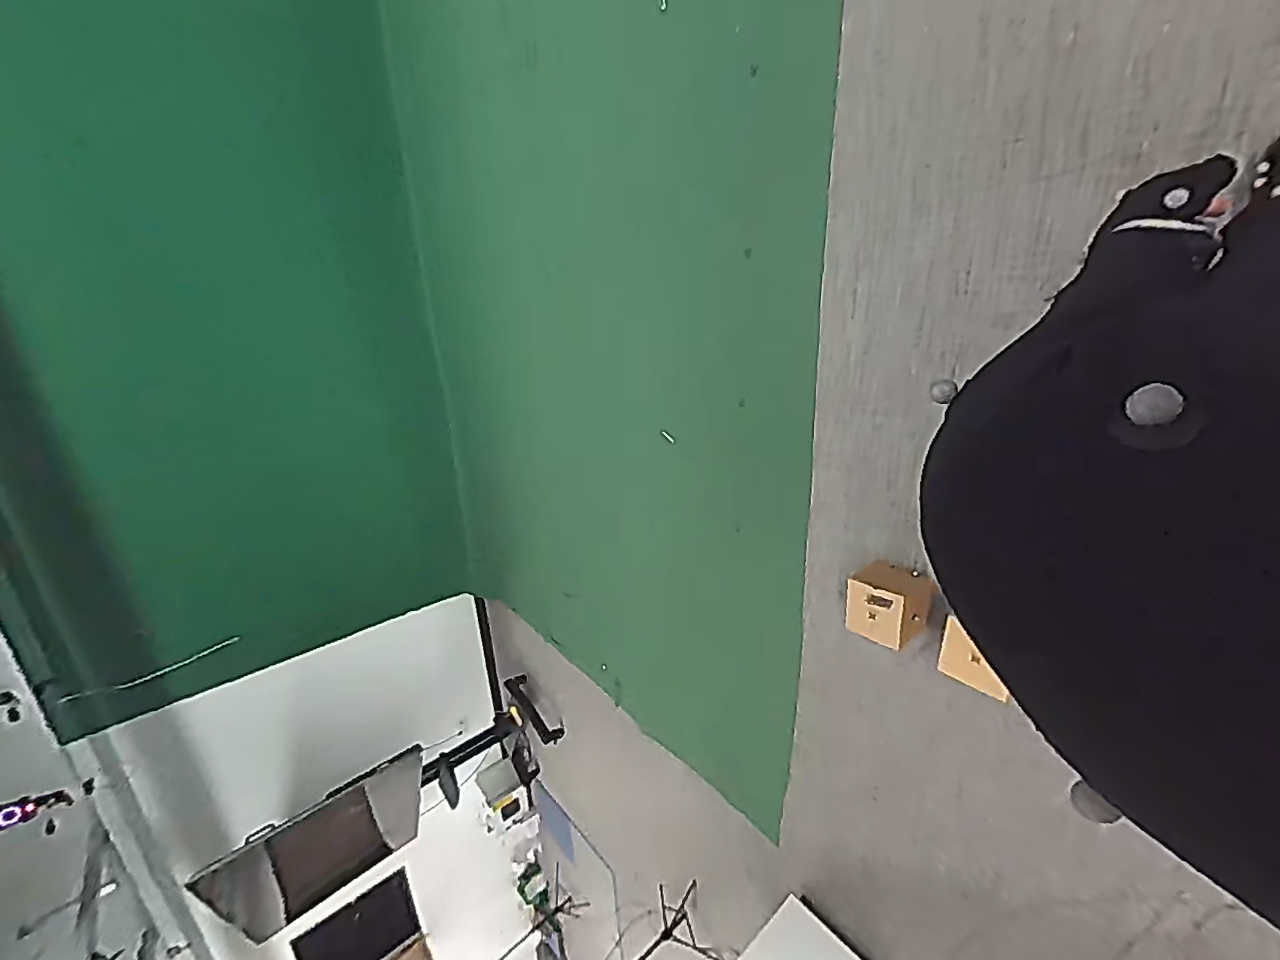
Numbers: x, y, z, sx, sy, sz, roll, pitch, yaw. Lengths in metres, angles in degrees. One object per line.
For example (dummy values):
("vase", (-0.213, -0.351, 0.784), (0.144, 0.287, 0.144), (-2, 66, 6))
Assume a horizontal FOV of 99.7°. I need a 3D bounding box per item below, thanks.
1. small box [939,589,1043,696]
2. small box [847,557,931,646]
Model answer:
("small box", (0.909, 0.412, 1.400), (0.168, 0.176, 0.179), (22, 120, 47))
("small box", (0.738, 0.349, 1.597), (0.168, 0.176, 0.179), (18, 118, 48))
